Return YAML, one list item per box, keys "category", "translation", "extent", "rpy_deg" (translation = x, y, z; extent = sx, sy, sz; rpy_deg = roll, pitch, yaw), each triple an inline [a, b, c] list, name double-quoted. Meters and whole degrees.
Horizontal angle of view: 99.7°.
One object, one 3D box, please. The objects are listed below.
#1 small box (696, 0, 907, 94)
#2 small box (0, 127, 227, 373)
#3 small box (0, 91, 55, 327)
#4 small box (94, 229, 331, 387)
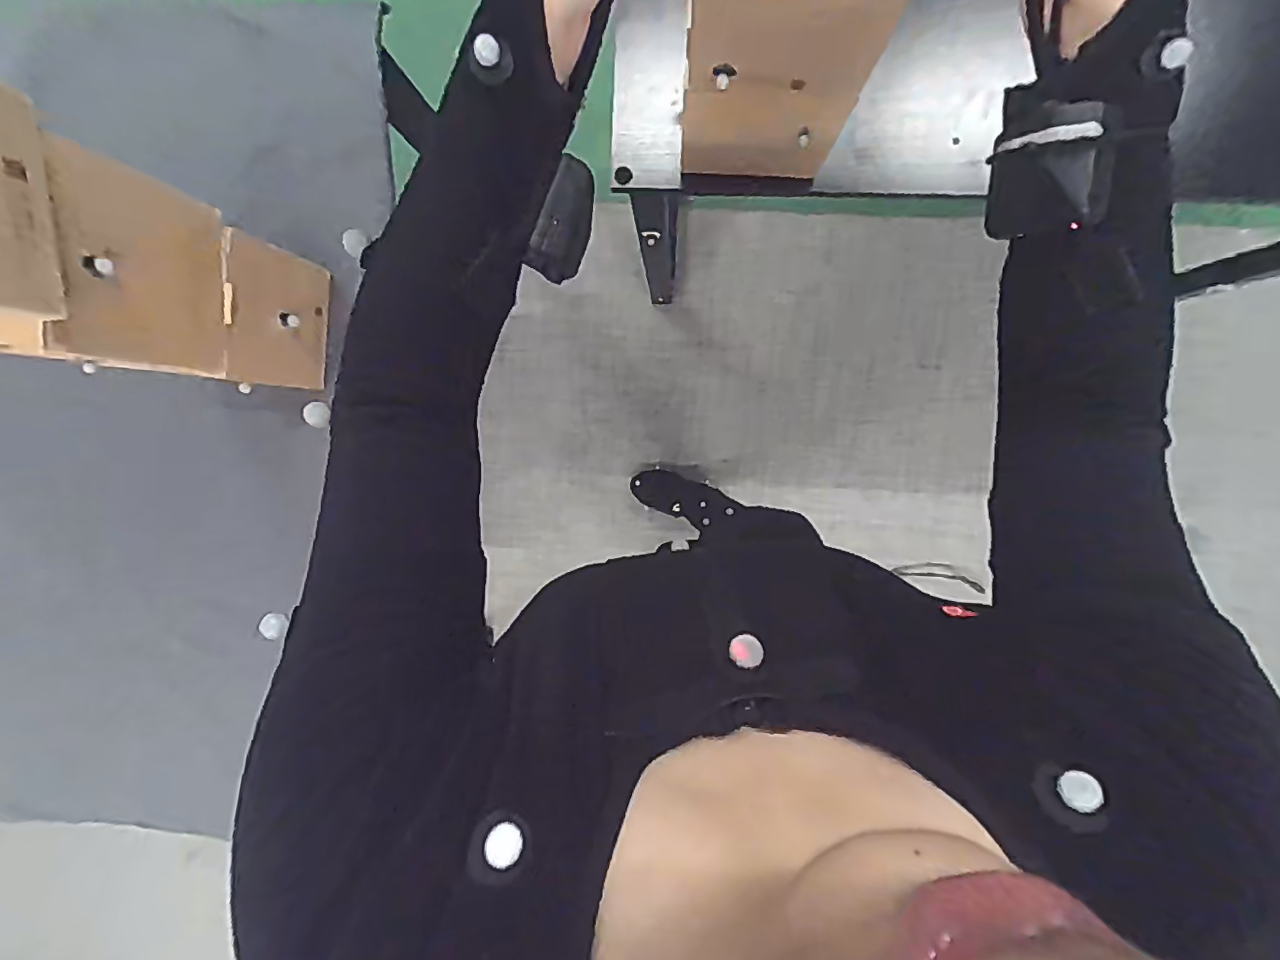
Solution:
- category: "small box"
  translation: [0.137, -0.452, 0.436]
  extent: [0.168, 0.176, 0.179]
  rpy_deg: [7, 95, 3]
- category: "small box"
  translation: [-0.534, -0.203, 0.513]
  extent: [0.168, 0.176, 0.179]
  rpy_deg: [5, 97, 5]
- category: "small box"
  translation: [-0.542, -0.194, 0.348]
  extent: [0.179, 0.176, 0.168]
  rpy_deg: [-3, 95, 6]
- category: "small box"
  translation: [-0.519, -0.209, 0.676]
  extent: [0.179, 0.176, 0.168]
  rpy_deg: [7, 97, 5]
